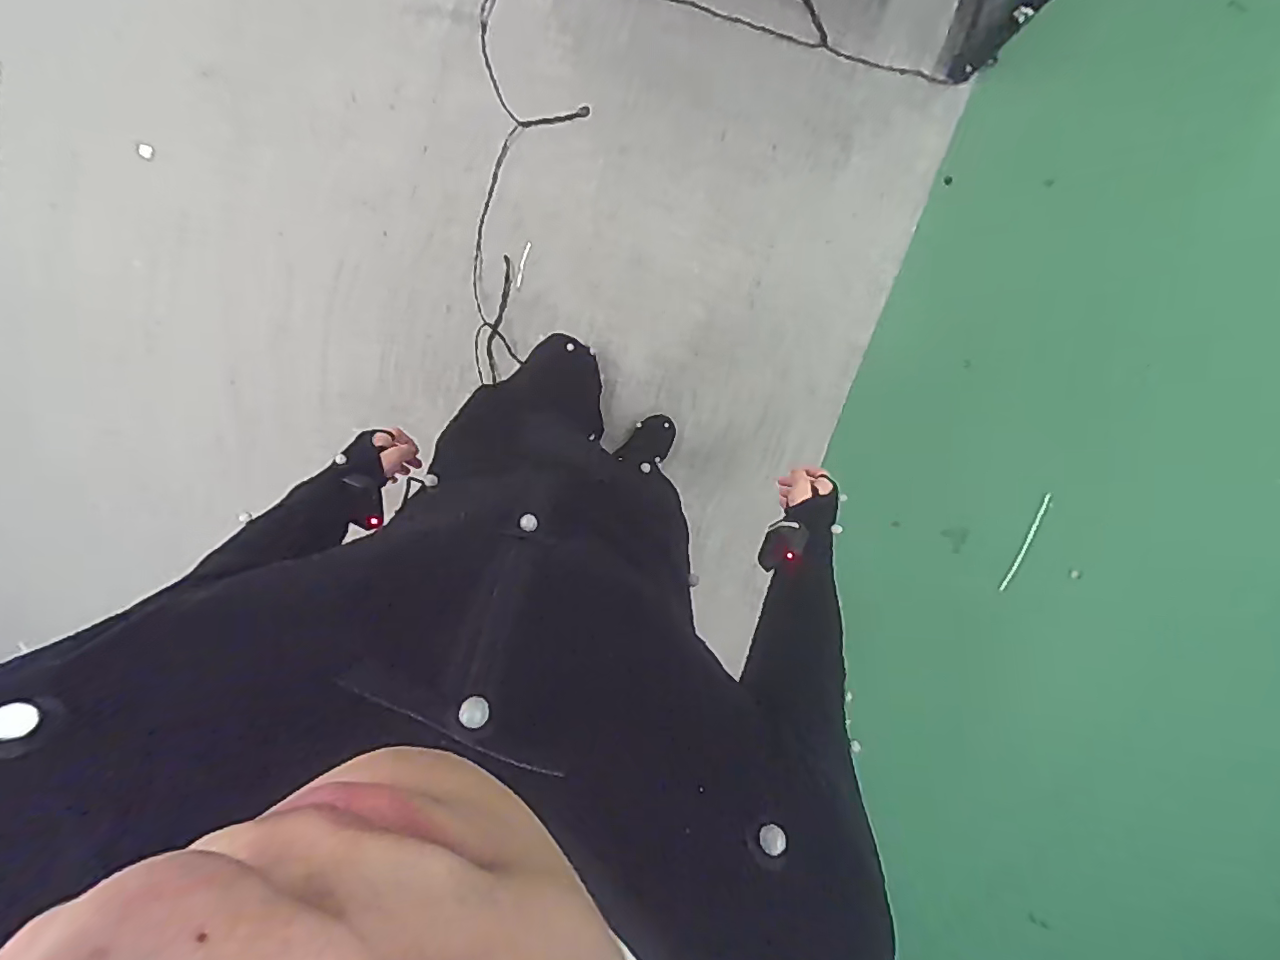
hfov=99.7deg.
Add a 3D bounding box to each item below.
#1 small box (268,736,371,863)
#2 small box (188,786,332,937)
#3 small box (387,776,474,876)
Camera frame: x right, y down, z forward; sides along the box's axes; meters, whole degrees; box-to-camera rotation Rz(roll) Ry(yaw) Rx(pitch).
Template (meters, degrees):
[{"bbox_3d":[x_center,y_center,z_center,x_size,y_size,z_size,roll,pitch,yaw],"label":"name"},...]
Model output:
[{"bbox_3d":[-0.780,0.759,1.301,0.168,0.176,0.179,23,102,-3],"label":"small box"},{"bbox_3d":[-0.788,0.792,1.140,0.168,0.176,0.179,23,102,-2],"label":"small box"},{"bbox_3d":[-0.526,0.871,1.311,0.168,0.176,0.179,25,102,-4],"label":"small box"}]
